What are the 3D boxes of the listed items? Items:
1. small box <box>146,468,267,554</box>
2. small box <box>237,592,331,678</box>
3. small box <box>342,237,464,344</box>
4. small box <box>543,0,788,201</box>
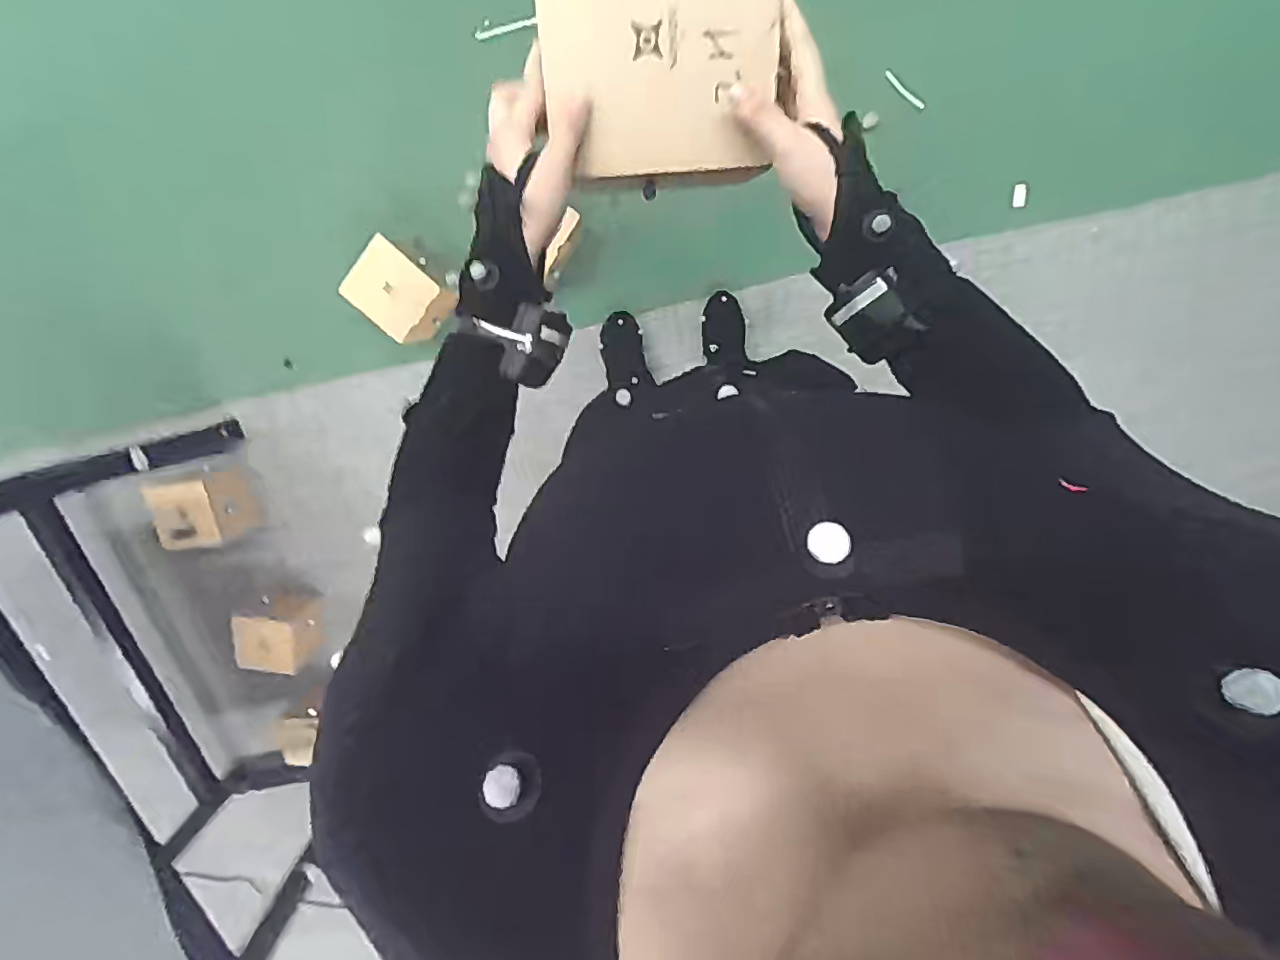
[{"bbox_3d":[-1.163,0.081,1.469,0.168,0.176,0.179,-7,107,2],"label":"small box"},{"bbox_3d":[-1.038,0.449,1.589,0.168,0.176,0.179,7,109,-1],"label":"small box"},{"bbox_3d":[-0.557,-0.446,1.295,0.179,0.176,0.168,40,104,-12],"label":"small box"},{"bbox_3d":[0.022,-0.342,0.468,0.179,0.176,0.168,-3,114,2],"label":"small box"}]
